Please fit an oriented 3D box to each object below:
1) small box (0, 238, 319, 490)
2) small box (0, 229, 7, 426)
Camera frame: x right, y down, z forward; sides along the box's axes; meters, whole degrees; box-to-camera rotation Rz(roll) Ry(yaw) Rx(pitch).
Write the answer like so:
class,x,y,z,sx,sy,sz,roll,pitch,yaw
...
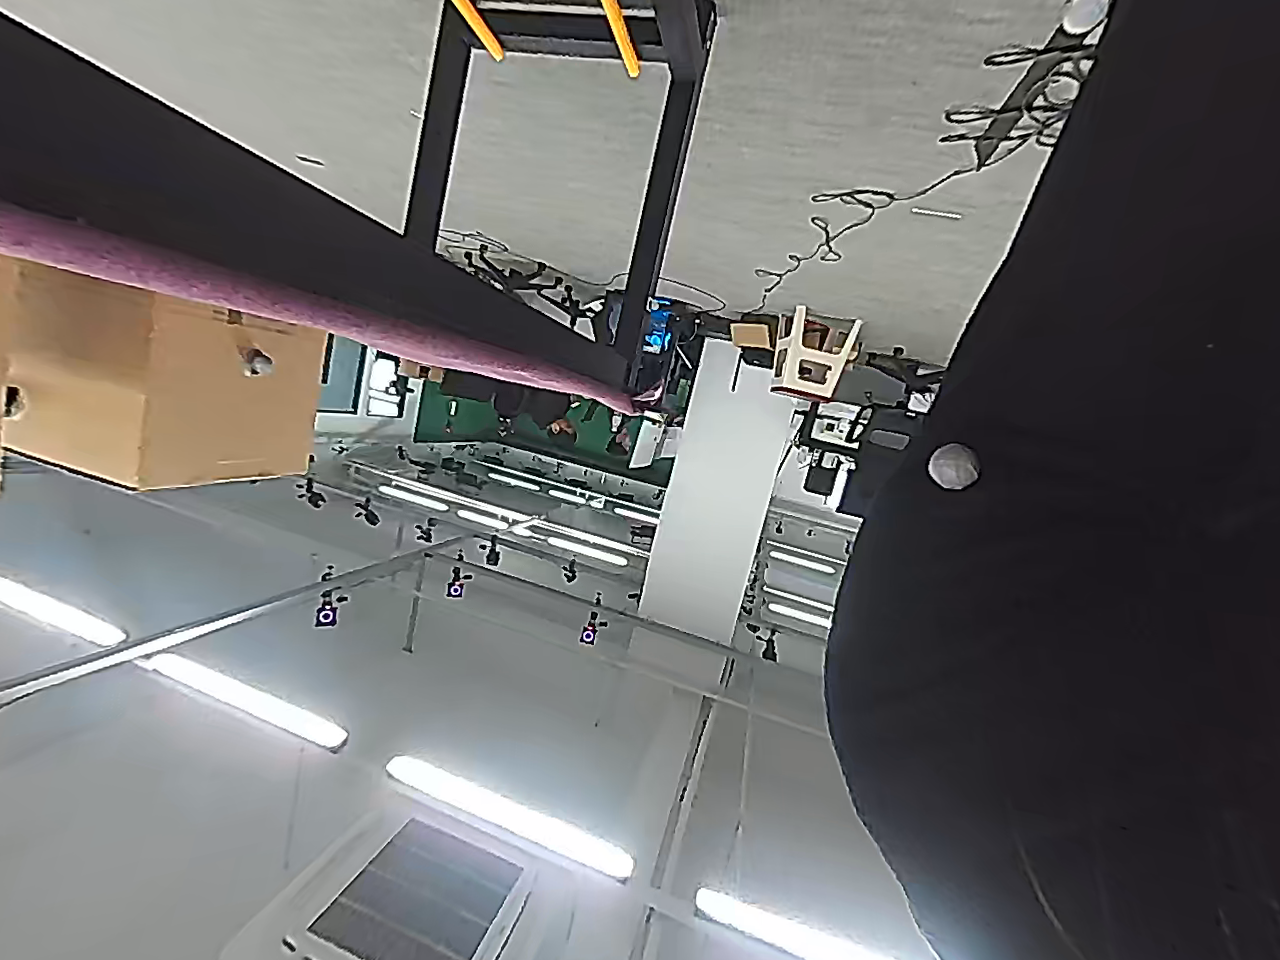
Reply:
class,x,y,z,sx,sy,sz,roll,pitch,yaw
small box,-0.428,-0.101,0.489,0.179,0.176,0.168,15,-171,9
small box,-0.476,-0.081,0.254,0.168,0.176,0.179,15,-172,7
